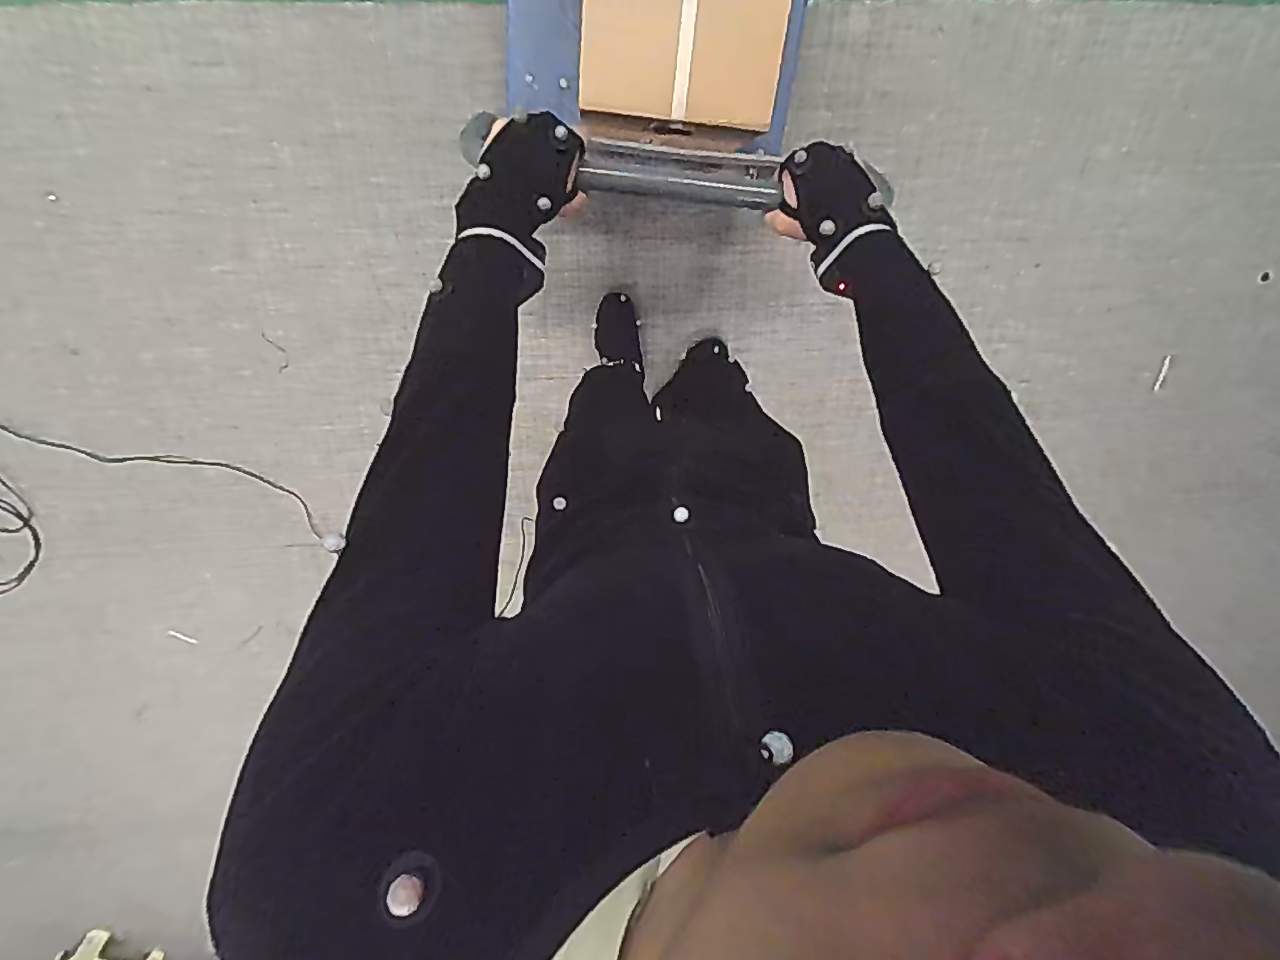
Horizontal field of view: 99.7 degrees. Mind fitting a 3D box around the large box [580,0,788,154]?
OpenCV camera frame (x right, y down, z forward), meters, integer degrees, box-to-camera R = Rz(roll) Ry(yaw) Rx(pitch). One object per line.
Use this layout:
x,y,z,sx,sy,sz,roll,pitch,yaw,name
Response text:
0.065,-0.819,0.926,0.320,0.320,0.408,3,114,-6,large box
